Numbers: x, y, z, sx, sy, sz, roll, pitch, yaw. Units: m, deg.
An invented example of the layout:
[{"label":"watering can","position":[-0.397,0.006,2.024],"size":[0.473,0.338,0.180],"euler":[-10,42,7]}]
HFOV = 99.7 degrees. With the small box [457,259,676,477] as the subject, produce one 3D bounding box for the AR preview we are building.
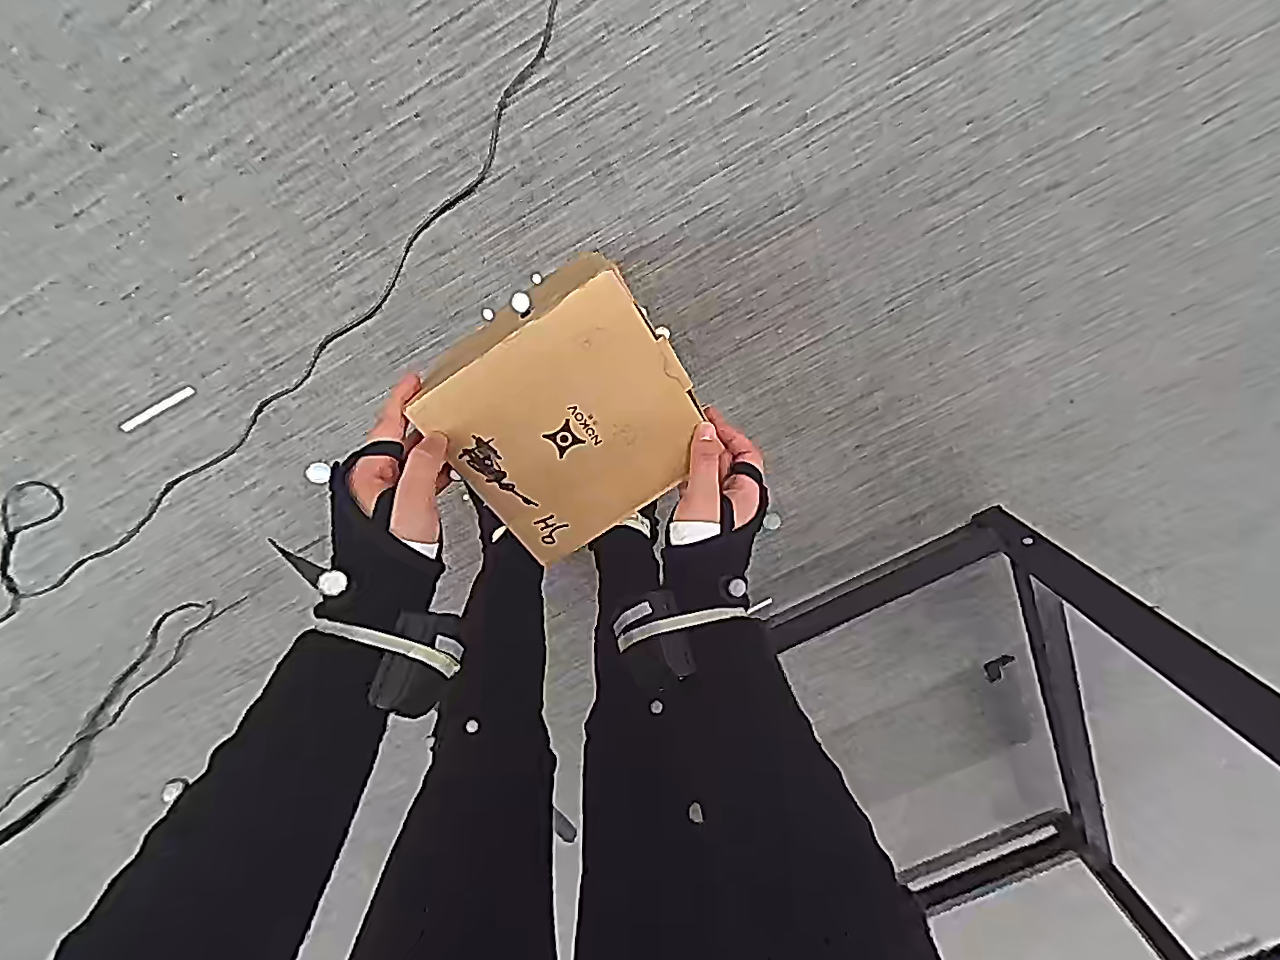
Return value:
[{"label":"small box","position":[-0.081,-0.139,0.640],"size":[0.179,0.176,0.168],"euler":[-34,114,8]}]
